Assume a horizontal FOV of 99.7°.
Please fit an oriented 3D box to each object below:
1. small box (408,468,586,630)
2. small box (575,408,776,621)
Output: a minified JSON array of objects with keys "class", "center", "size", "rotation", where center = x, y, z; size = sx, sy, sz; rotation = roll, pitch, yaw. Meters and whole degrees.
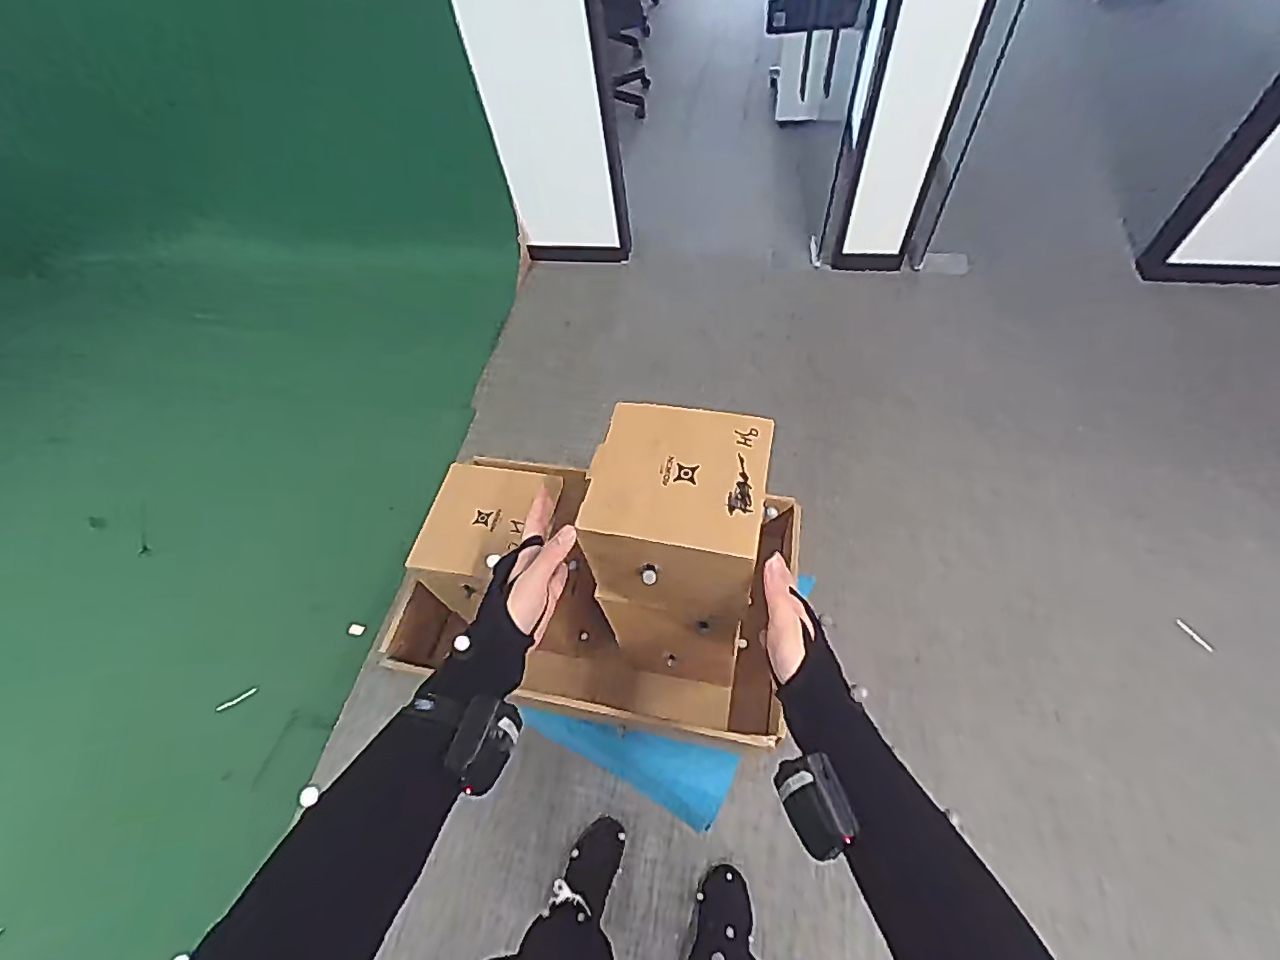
[{"class":"small box","center":[-0.192,0.104,0.786],"size":[0.179,0.176,0.168],"rotation":[8,58,10]},{"class":"small box","center":[0.049,0.042,0.606],"size":[0.179,0.176,0.168],"rotation":[8,58,13]}]
